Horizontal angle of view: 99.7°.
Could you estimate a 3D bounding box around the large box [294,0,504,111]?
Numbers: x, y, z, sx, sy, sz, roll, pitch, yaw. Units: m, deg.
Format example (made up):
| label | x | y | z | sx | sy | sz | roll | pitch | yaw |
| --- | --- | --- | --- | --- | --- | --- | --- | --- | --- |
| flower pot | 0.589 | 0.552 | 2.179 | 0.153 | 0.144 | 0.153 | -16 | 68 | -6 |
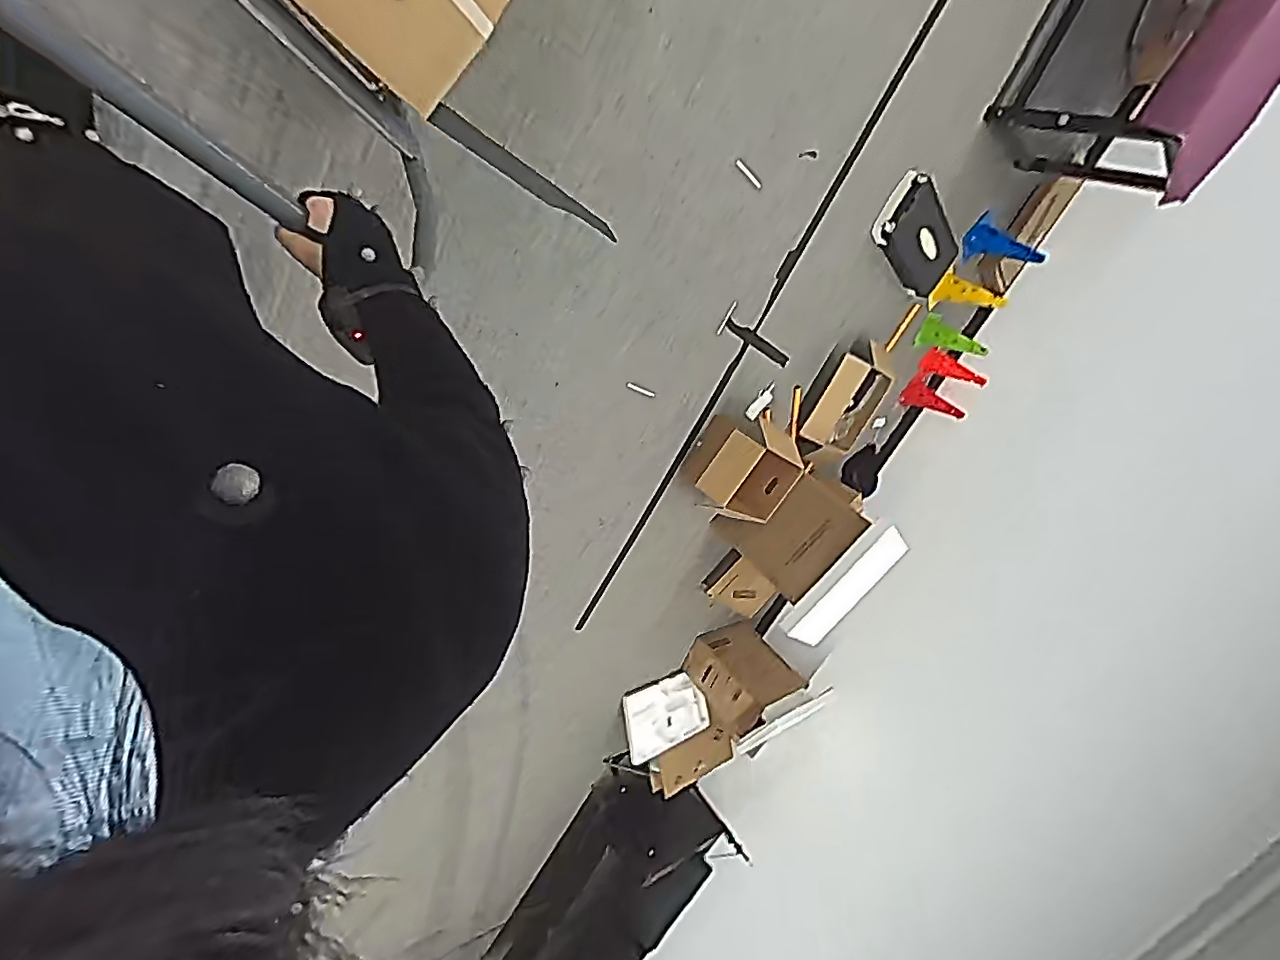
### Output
| label | x | y | z | sx | sy | sz | roll | pitch | yaw |
| --- | --- | --- | --- | --- | --- | --- | --- | --- | --- |
| large box | -0.406 | -0.825 | 0.725 | 0.320 | 0.320 | 0.408 | -41 | 144 | 17 |
